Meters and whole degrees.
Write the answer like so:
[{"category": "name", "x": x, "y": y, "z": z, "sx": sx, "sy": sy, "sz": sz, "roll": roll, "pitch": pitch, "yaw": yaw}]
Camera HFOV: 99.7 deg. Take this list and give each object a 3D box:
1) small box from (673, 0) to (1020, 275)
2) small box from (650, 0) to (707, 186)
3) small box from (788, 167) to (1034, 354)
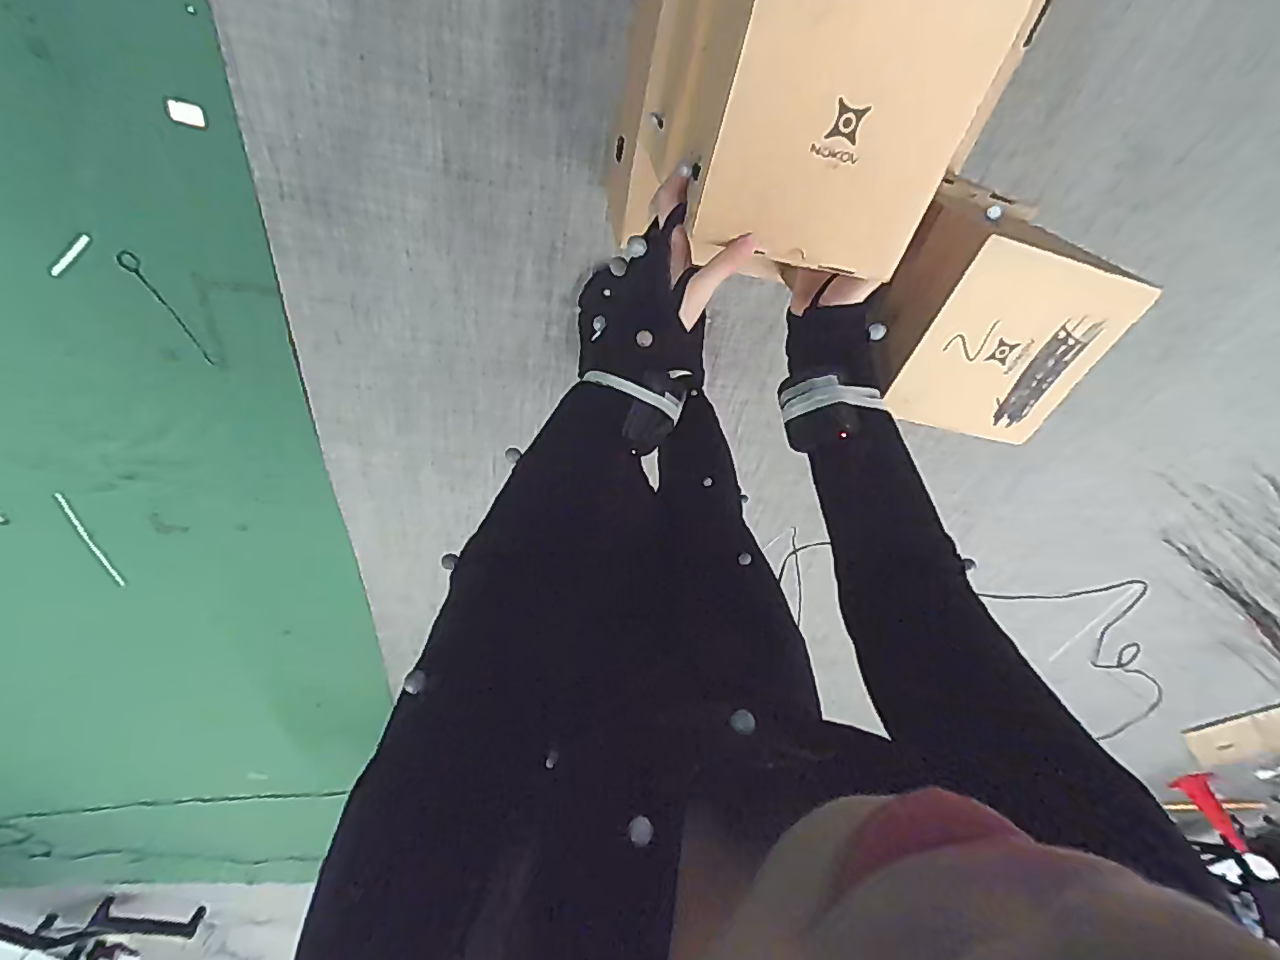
[{"category": "small box", "x": 0.126, "y": -0.288, "z": 0.418, "sx": 0.168, "sy": 0.176, "sz": 0.179, "roll": 8, "pitch": 130, "yaw": -9}, {"category": "small box", "x": 0.108, "y": -0.393, "z": 0.541, "sx": 0.168, "sy": 0.176, "sz": 0.179, "roll": 8, "pitch": 128, "yaw": -10}, {"category": "small box", "x": 0.299, "y": -0.280, "z": 0.646, "sx": 0.168, "sy": 0.176, "sz": 0.179, "roll": 9, "pitch": 128, "yaw": -12}]
